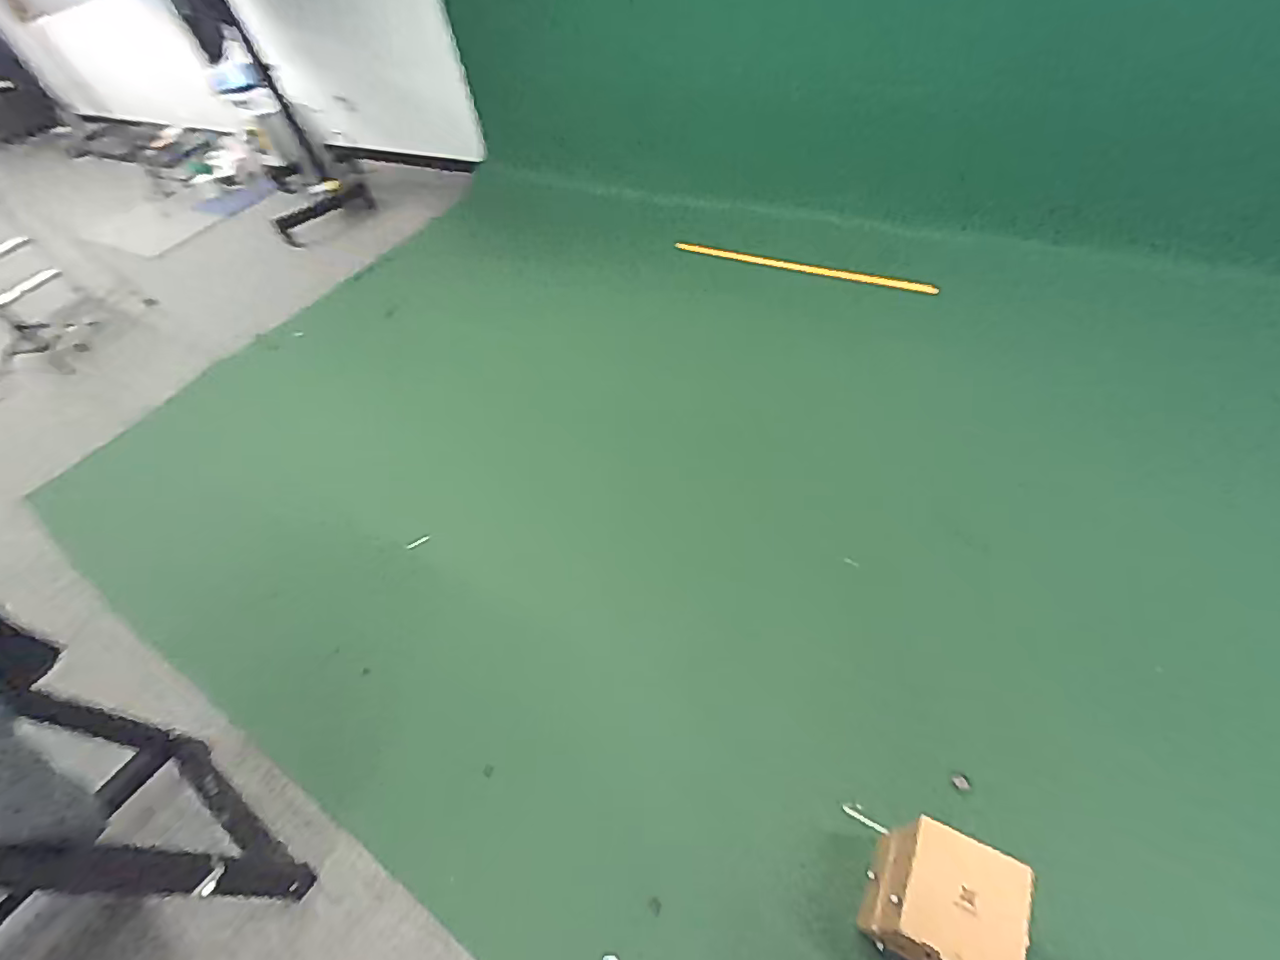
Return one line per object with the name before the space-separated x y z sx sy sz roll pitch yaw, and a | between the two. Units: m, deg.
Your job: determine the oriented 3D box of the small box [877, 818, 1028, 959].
small box | 0.513 0.707 0.904 0.168 0.176 0.179 19 57 23
